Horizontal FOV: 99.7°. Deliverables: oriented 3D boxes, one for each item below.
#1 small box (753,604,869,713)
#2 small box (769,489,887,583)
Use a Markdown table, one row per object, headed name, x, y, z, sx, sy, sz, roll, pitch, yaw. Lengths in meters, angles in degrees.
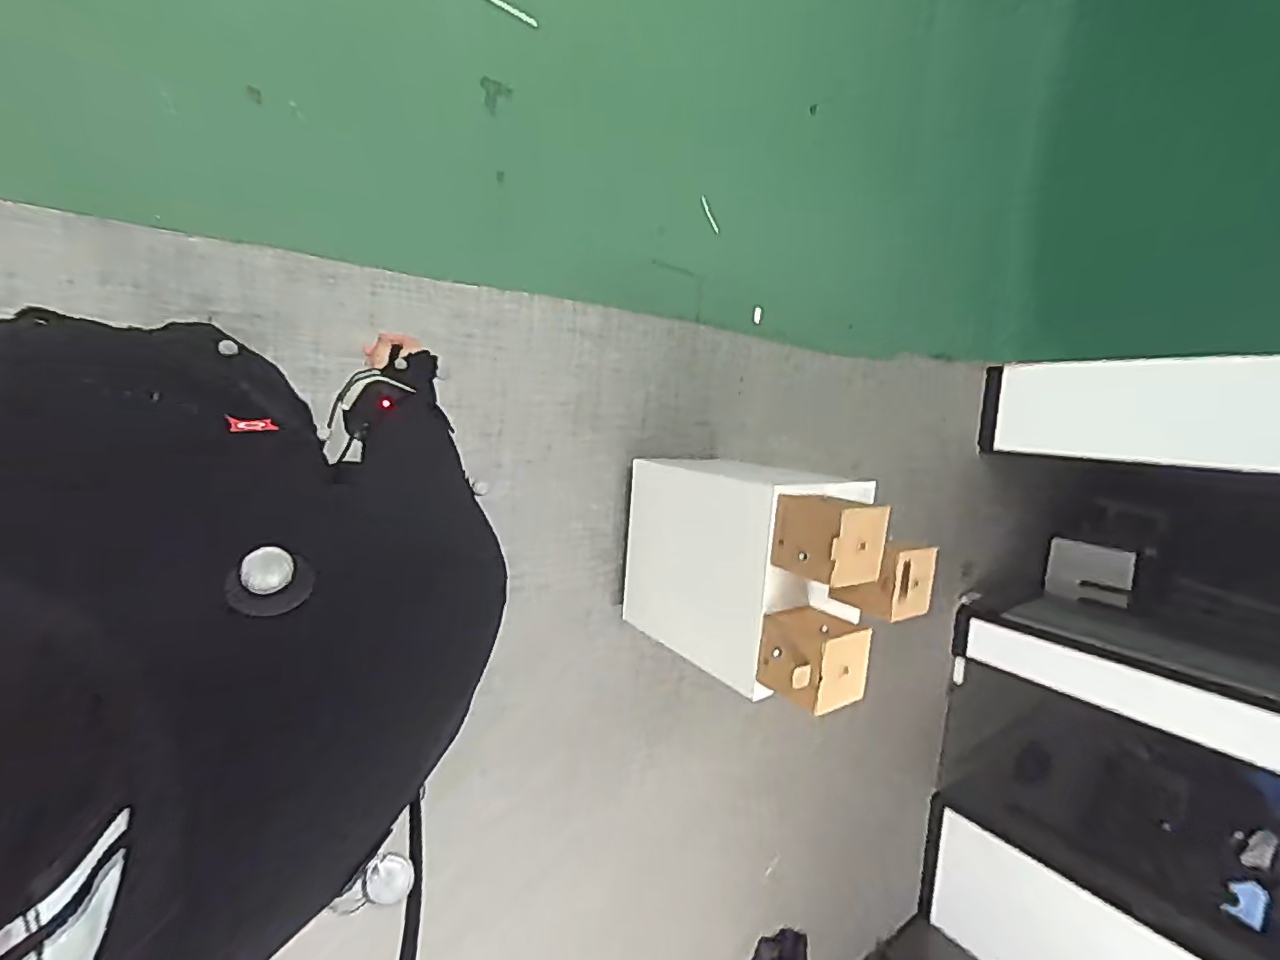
| name | x | y | z | sx | sy | sz | roll | pitch | yaw |
| --- | --- | --- | --- | --- | --- | --- | --- | --- | --- |
| small box | 0.384 | 0.390 | 1.221 | 0.179 | 0.176 | 0.168 | 0 | 98 | -36 |
| small box | 0.408 | 0.117 | 1.189 | 0.179 | 0.176 | 0.168 | 0 | 100 | -38 |
